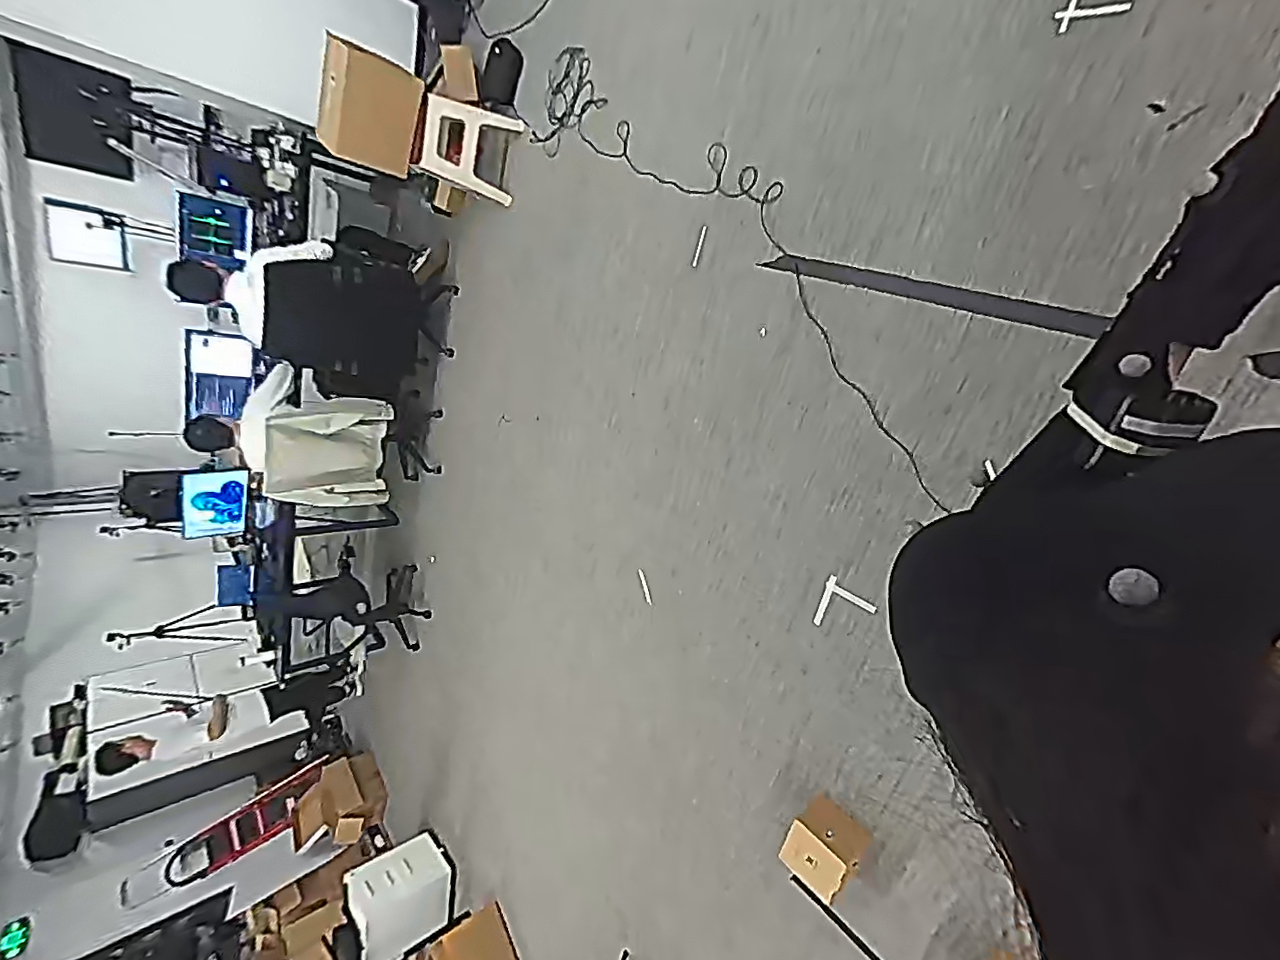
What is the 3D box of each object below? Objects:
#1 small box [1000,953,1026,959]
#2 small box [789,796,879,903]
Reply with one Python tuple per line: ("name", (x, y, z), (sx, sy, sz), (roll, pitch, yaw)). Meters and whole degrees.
("small box", (0.924, 1.299, 1.296), (0.179, 0.176, 0.168), (30, 115, 41))
("small box", (0.587, 1.100, 1.628), (0.179, 0.176, 0.168), (31, 114, 41))
